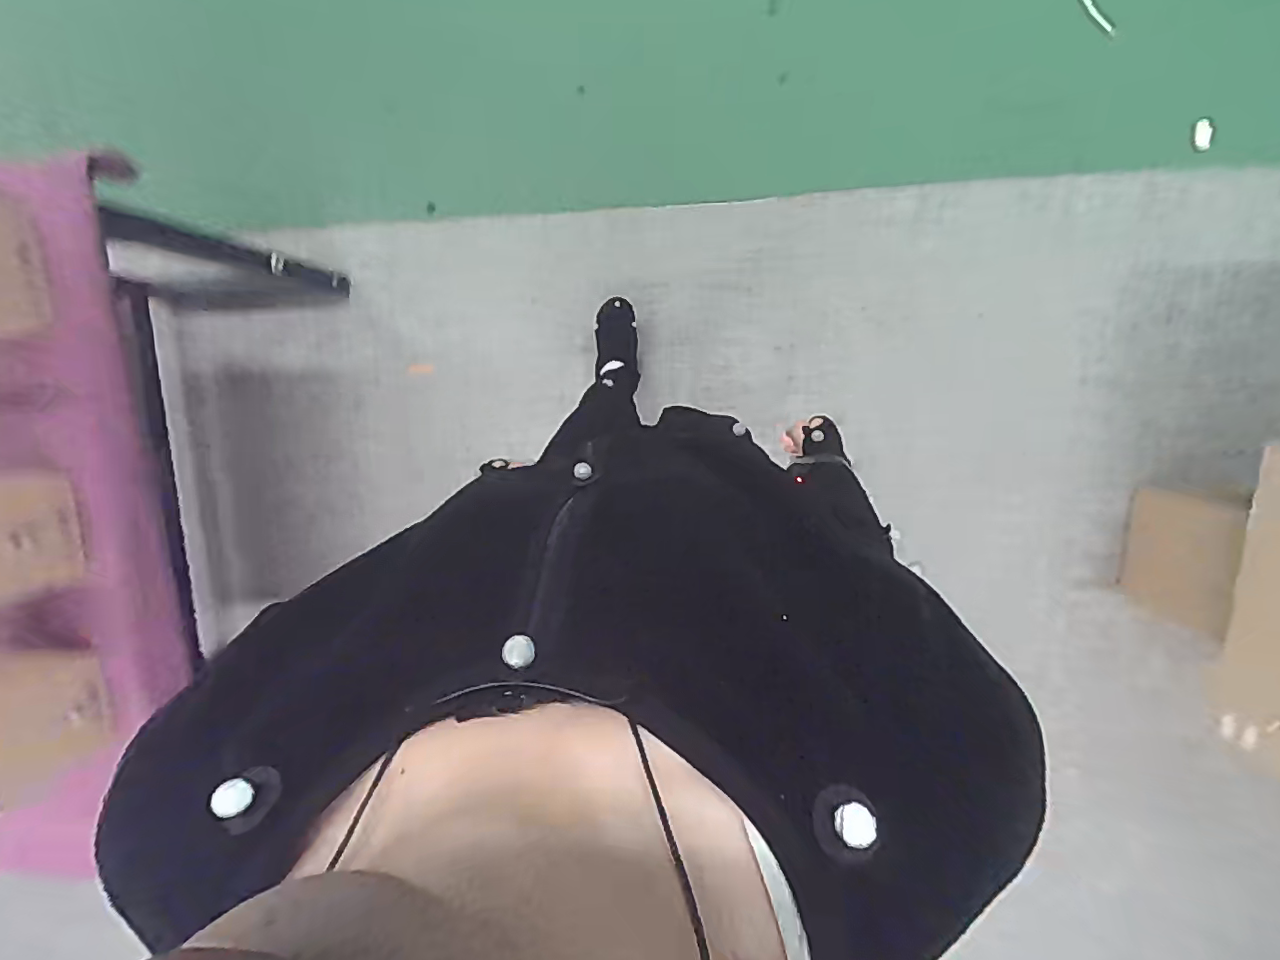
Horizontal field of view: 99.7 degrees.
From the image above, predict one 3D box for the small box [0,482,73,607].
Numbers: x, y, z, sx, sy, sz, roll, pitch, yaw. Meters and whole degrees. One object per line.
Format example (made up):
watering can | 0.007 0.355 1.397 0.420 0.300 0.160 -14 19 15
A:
small box | -0.987 0.097 0.784 0.179 0.176 0.168 0 100 6
